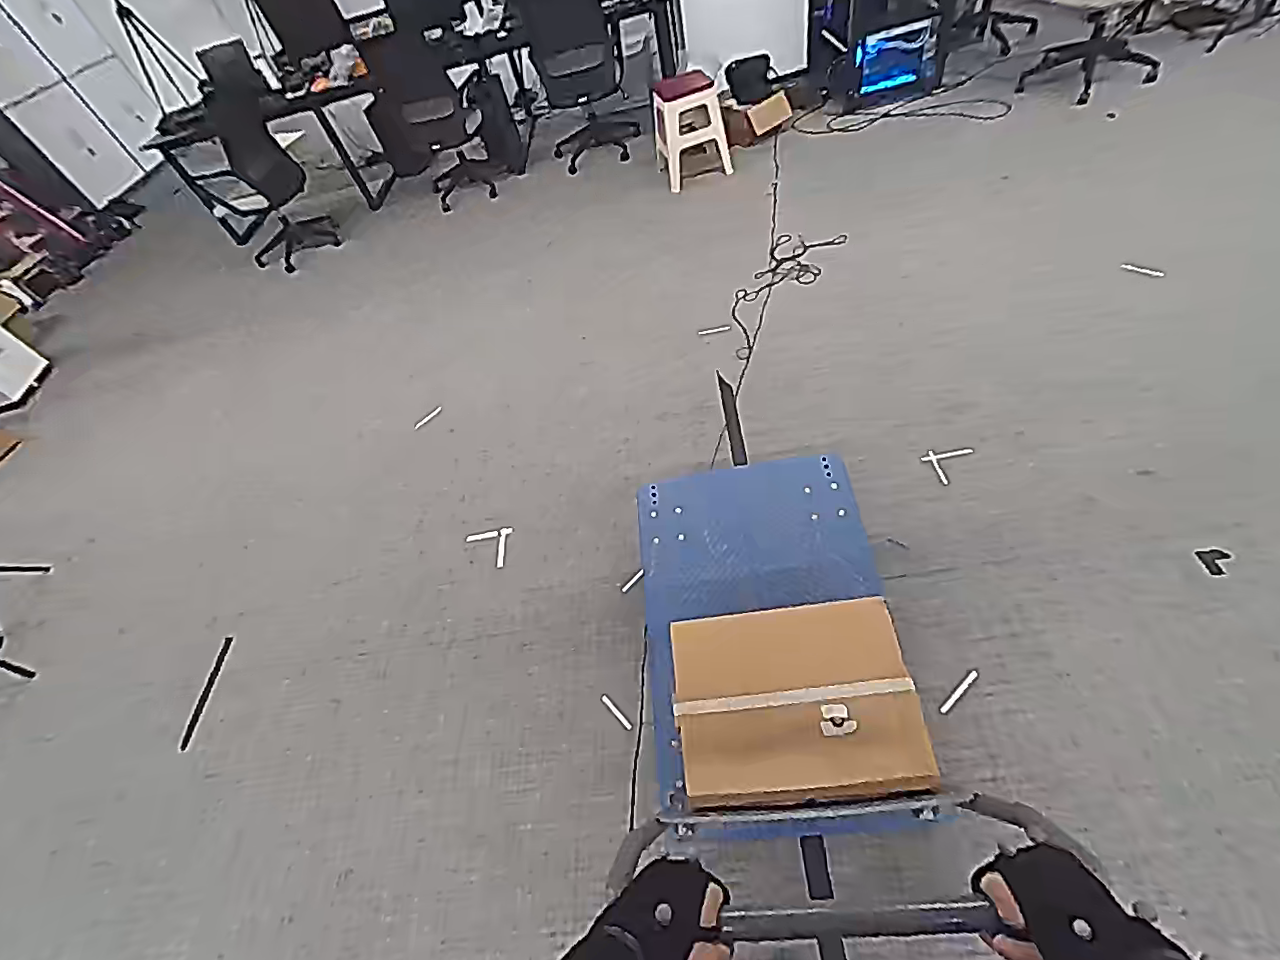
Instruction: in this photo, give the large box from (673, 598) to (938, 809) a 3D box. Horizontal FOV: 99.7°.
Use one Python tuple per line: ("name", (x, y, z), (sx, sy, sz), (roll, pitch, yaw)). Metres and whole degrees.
("large box", (0.299, 0.459, 1.088), (0.408, 0.320, 0.320), (-10, 60, 7))
